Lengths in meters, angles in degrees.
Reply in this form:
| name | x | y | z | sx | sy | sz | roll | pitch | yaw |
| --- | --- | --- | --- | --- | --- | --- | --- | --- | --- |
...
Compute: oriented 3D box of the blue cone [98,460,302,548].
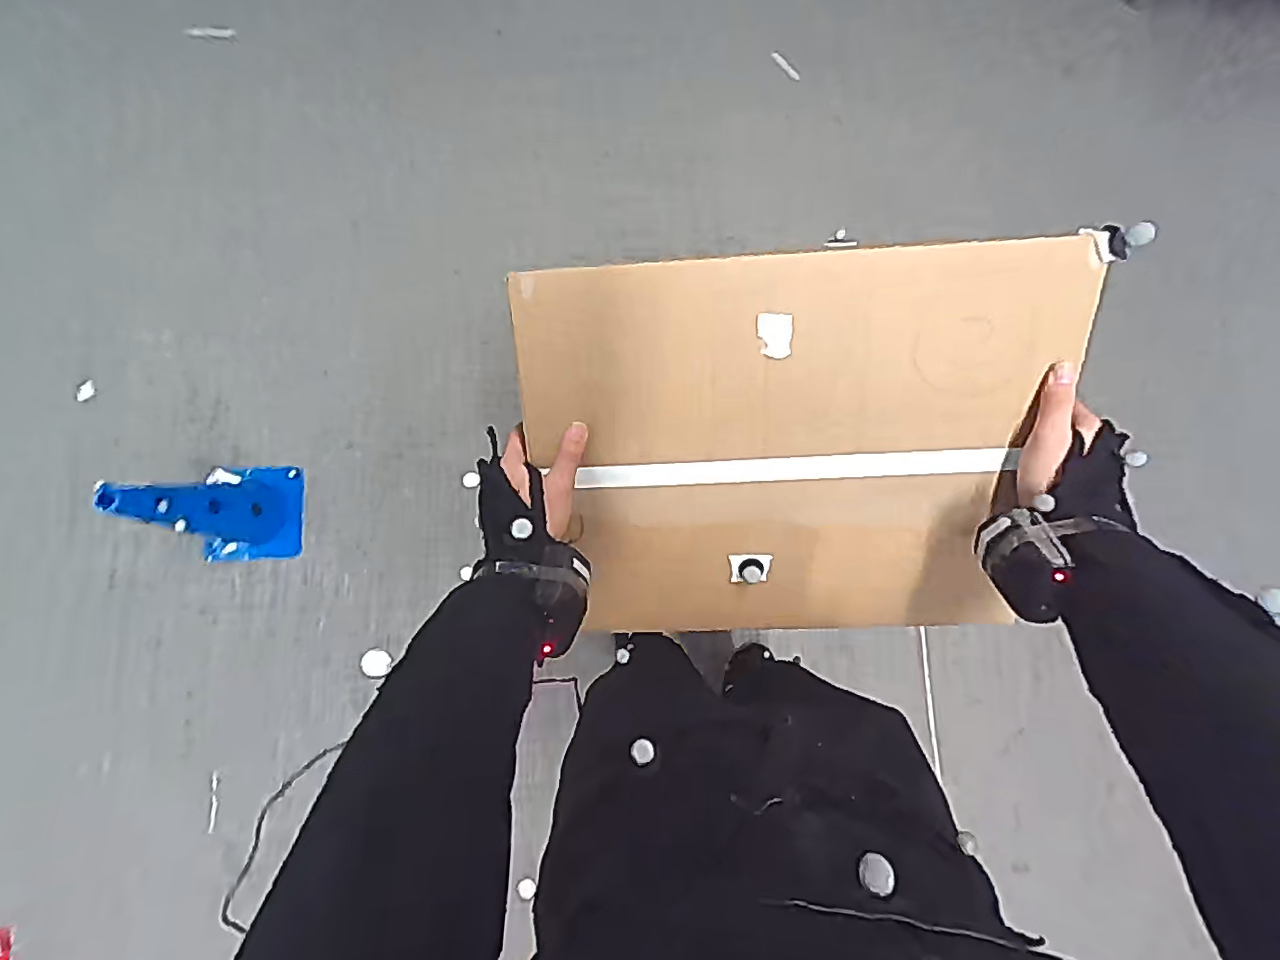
| name | x | y | z | sx | sy | sz | roll | pitch | yaw |
| --- | --- | --- | --- | --- | --- | --- | --- | --- | --- |
| blue cone | -0.826 | 0.028 | 1.014 | 0.193 | 0.380 | 0.192 | -1 | 82 | -3 |
